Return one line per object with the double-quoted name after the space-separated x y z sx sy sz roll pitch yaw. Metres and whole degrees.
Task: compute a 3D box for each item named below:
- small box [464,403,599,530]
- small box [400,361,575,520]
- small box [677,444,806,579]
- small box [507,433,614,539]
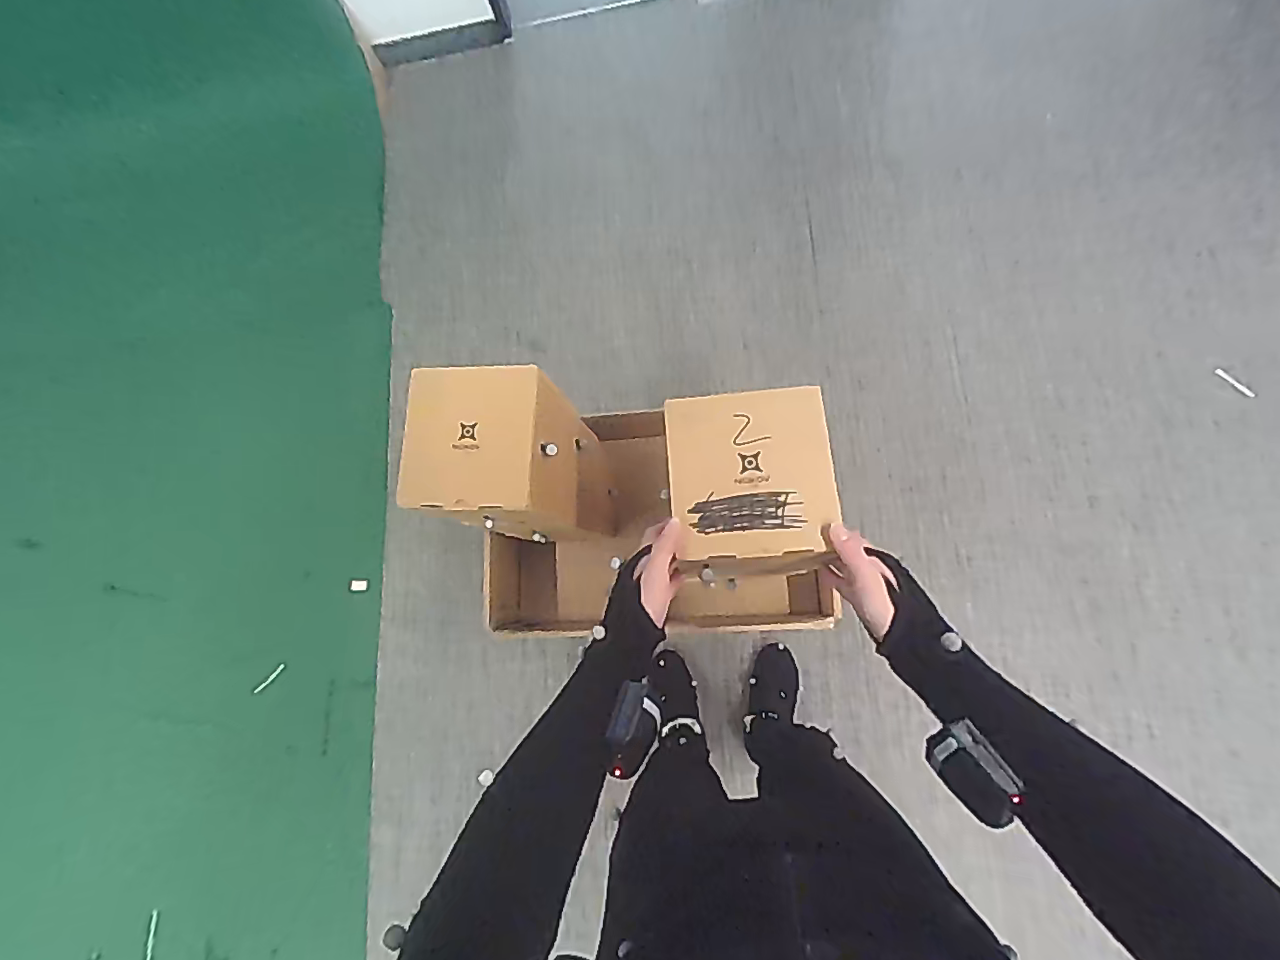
-0.167 -0.015 0.879 0.168 0.176 0.179 0 80 10 "small box"
-0.188 -0.045 0.721 0.168 0.176 0.179 1 80 9 "small box"
0.146 0.056 0.817 0.168 0.176 0.179 -5 79 8 "small box"
-0.145 0.017 1.038 0.168 0.176 0.179 -1 79 8 "small box"
